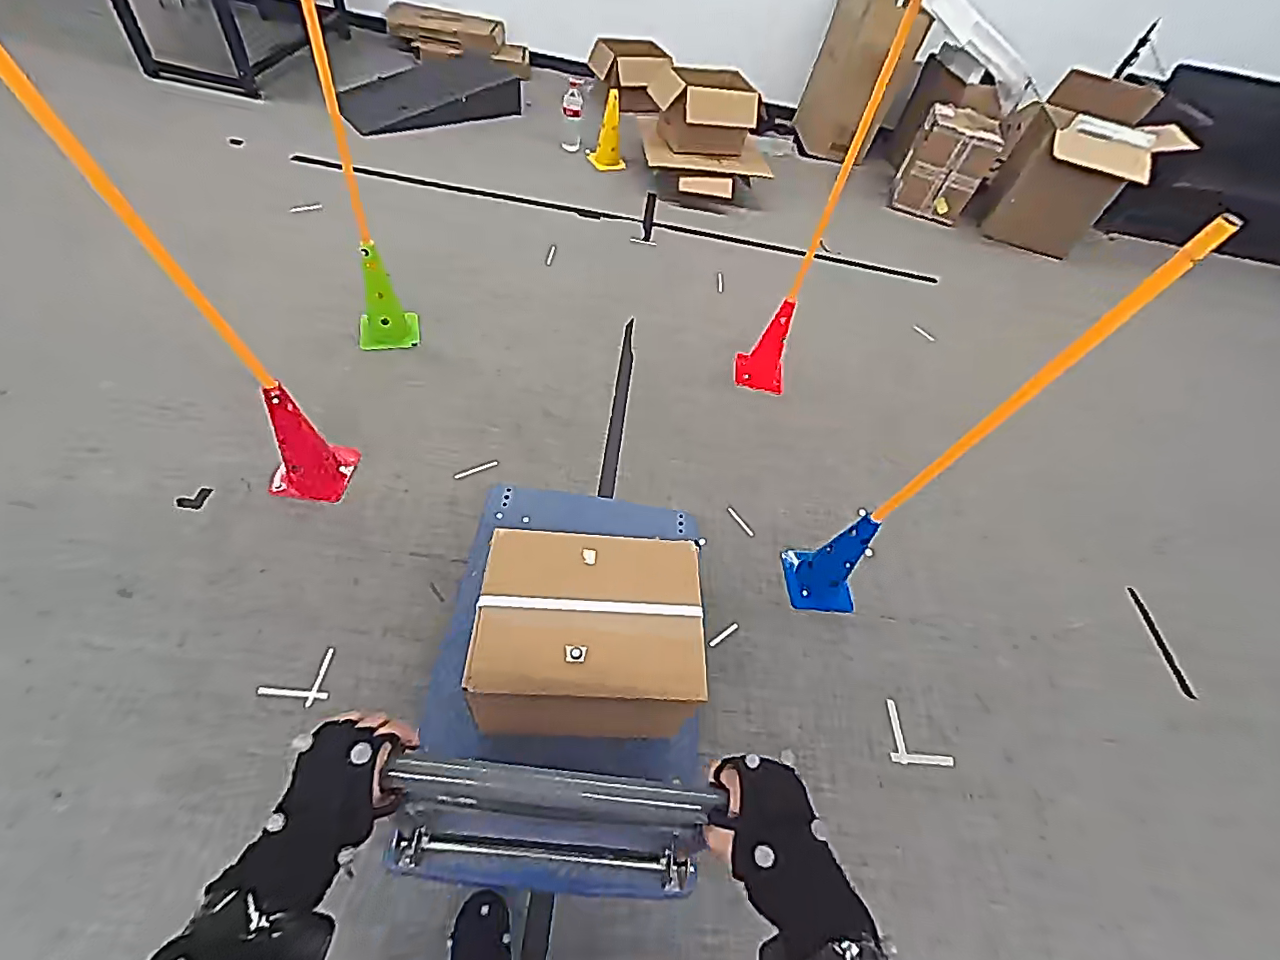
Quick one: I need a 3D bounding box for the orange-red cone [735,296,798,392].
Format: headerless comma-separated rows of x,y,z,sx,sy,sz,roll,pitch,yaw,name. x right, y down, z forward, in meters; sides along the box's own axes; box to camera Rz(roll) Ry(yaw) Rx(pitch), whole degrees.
0.519,-0.544,2.064,0.199,0.360,0.198,15,53,-2,orange-red cone

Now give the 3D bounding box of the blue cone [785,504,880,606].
0.577,0.197,1.537,0.193,0.380,0.192,6,51,-7,blue cone
